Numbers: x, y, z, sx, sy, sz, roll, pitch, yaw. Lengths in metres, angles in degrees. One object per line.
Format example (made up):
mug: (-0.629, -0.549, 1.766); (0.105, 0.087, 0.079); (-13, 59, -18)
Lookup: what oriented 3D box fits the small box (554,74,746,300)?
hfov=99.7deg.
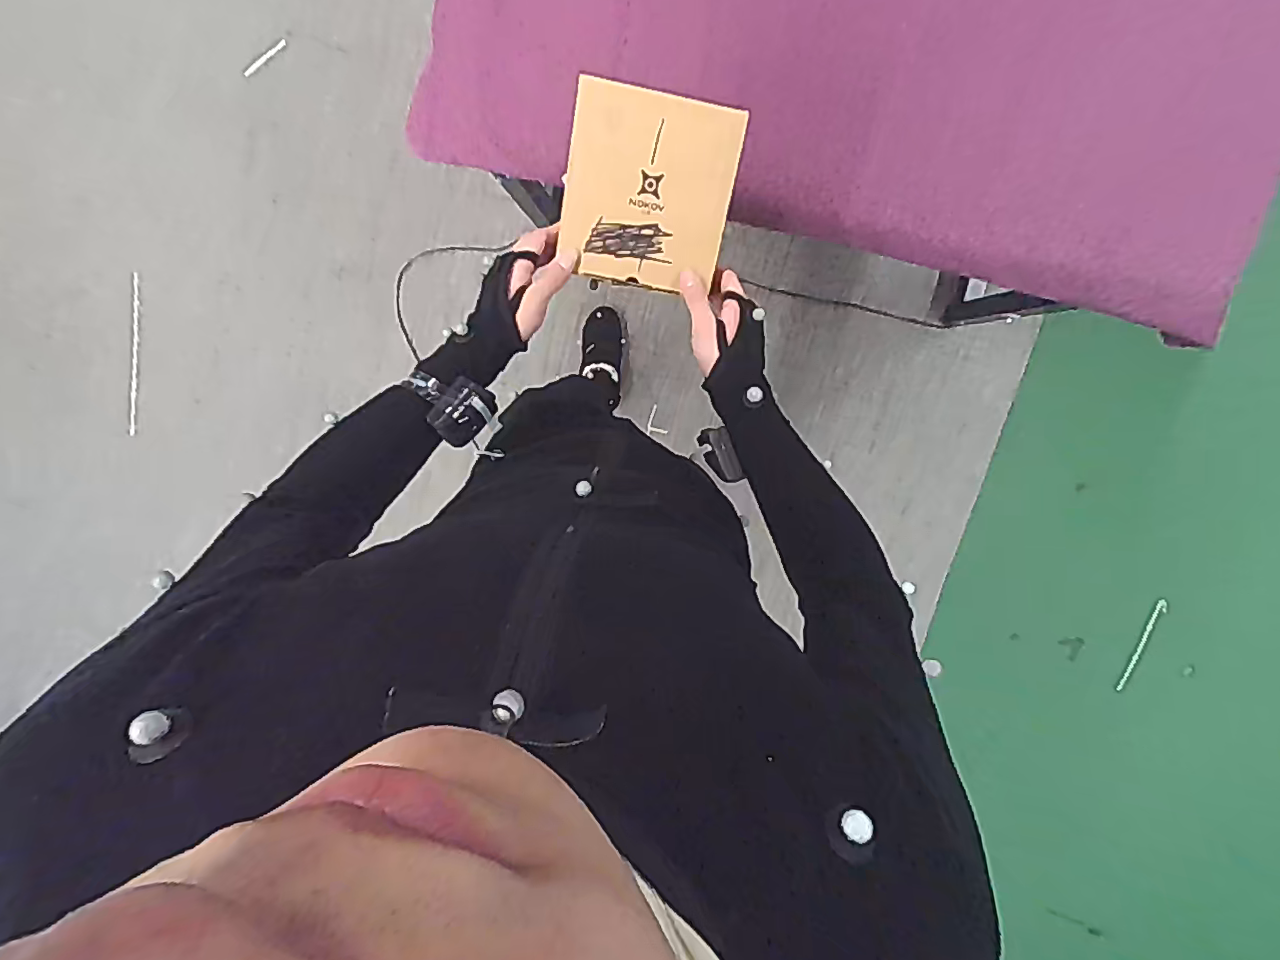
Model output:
small box: (0.007, -0.310, 0.611); (0.168, 0.176, 0.179); (11, 108, -4)
